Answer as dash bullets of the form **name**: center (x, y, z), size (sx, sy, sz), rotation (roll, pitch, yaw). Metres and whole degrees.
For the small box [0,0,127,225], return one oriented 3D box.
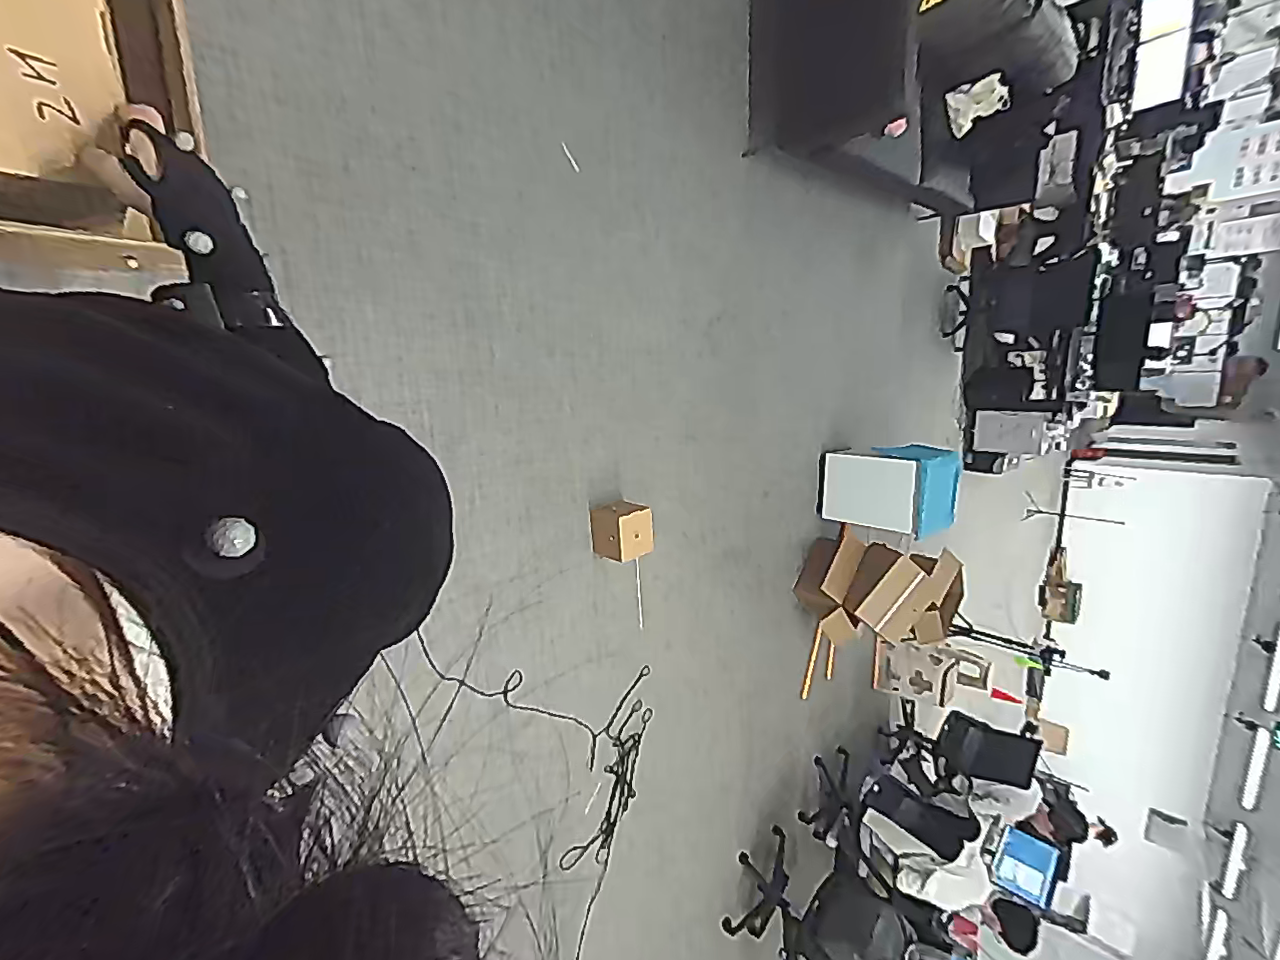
- **small box**: center (-0.528, -0.312, 0.416), size (0.179, 0.176, 0.168), rotation (-10, 104, -45)

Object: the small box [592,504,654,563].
- **small box**: center (-0.066, 0.193, 2.034), size (0.168, 0.176, 0.179), rotation (-14, 107, -42)
